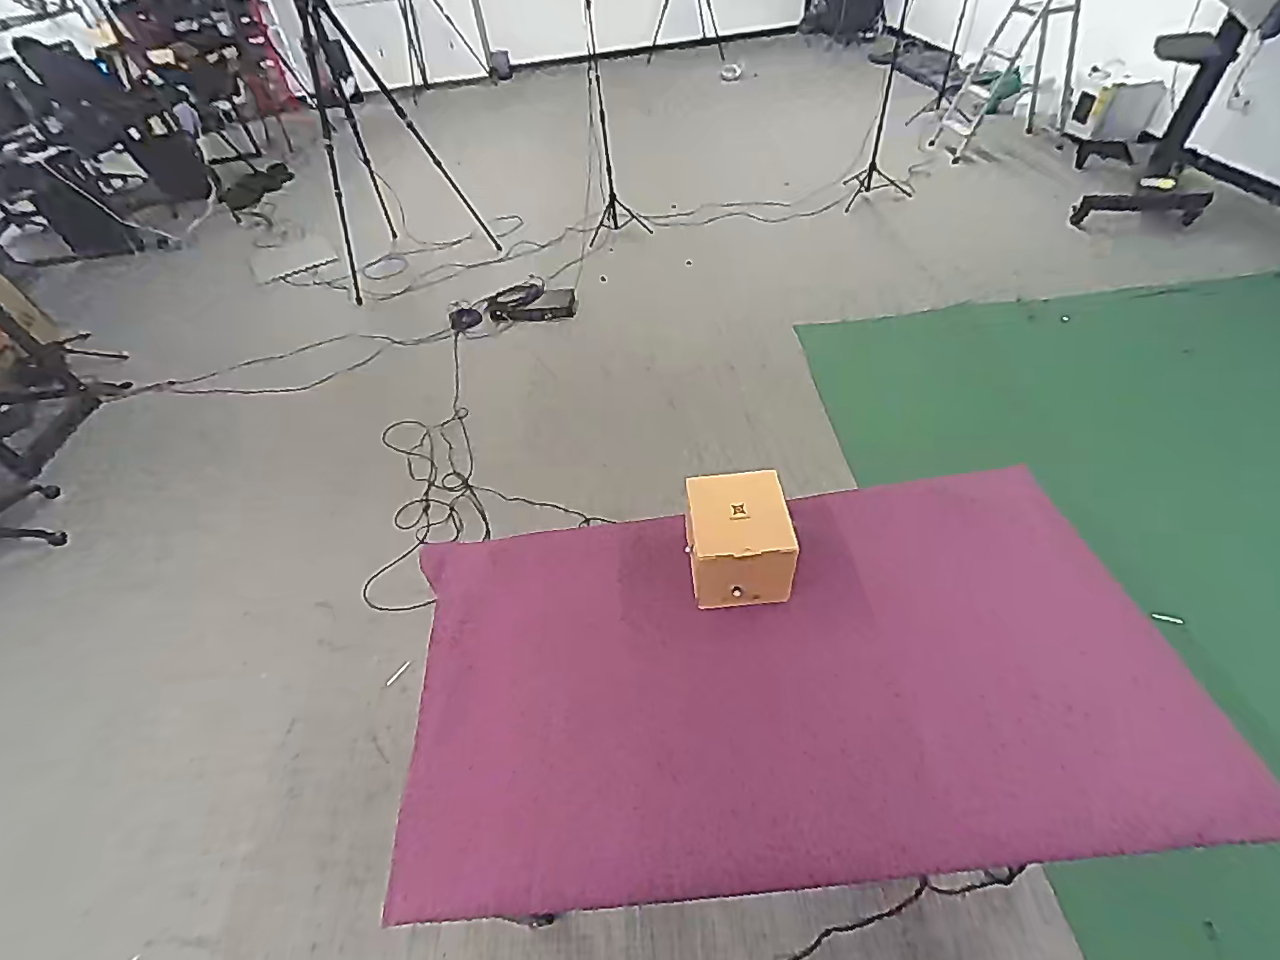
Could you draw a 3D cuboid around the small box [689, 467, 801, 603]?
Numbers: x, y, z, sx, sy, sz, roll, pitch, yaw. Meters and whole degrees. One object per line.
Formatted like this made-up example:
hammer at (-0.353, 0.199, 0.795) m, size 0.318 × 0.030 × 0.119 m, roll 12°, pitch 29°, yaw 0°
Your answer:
small box at (0.176, 0.100, 0.970) m, size 0.168 × 0.176 × 0.179 m, roll -5°, pitch 50°, yaw 1°
